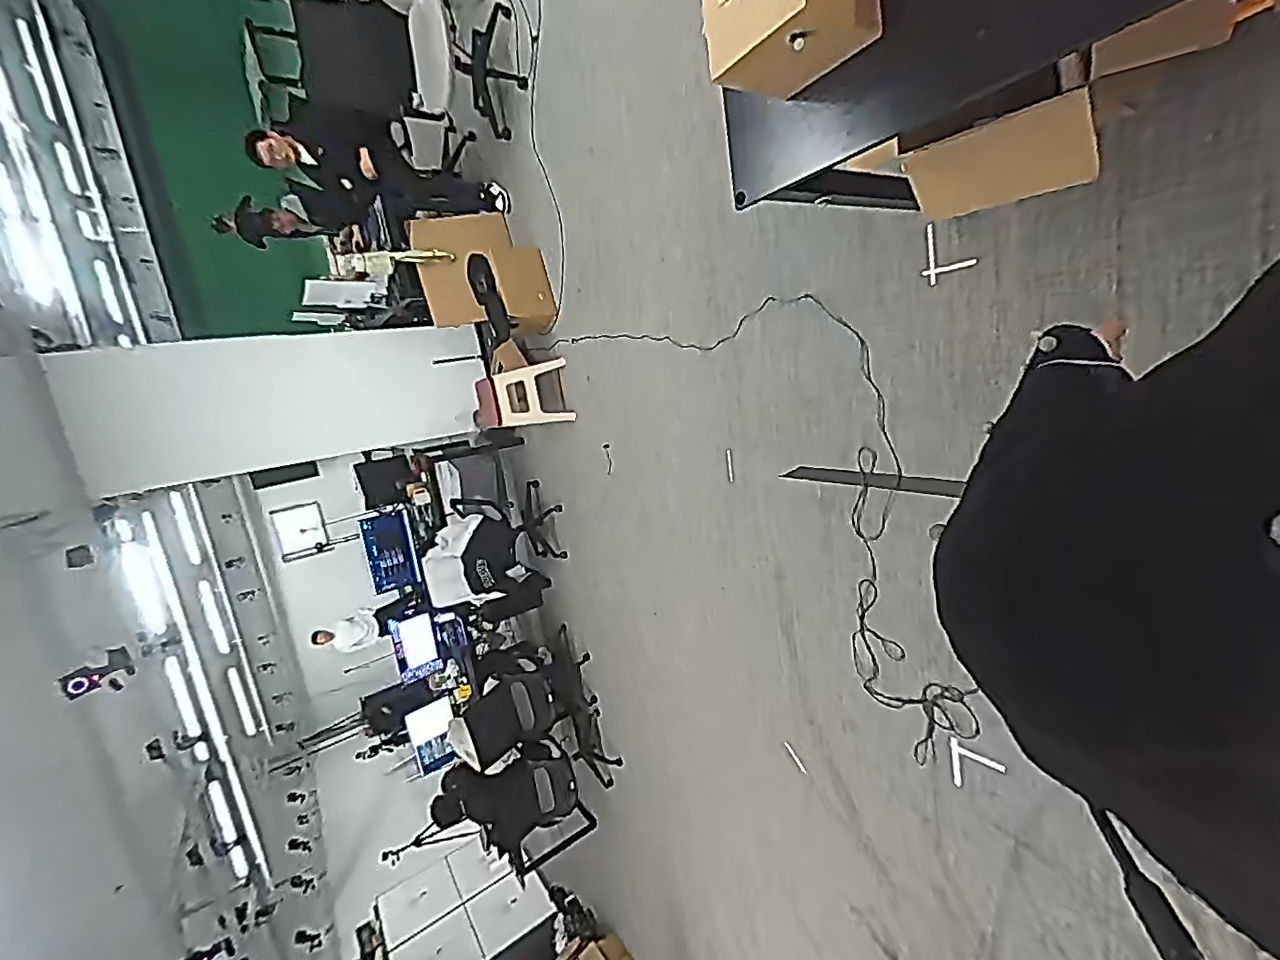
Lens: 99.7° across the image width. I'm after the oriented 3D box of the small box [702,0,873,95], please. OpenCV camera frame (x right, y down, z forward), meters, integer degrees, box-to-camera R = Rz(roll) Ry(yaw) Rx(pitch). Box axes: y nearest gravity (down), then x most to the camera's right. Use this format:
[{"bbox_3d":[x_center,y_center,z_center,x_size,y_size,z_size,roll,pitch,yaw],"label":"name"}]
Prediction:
[{"bbox_3d":[0.207,-0.680,0.758,0.179,0.176,0.168,6,108,56],"label":"small box"}]
